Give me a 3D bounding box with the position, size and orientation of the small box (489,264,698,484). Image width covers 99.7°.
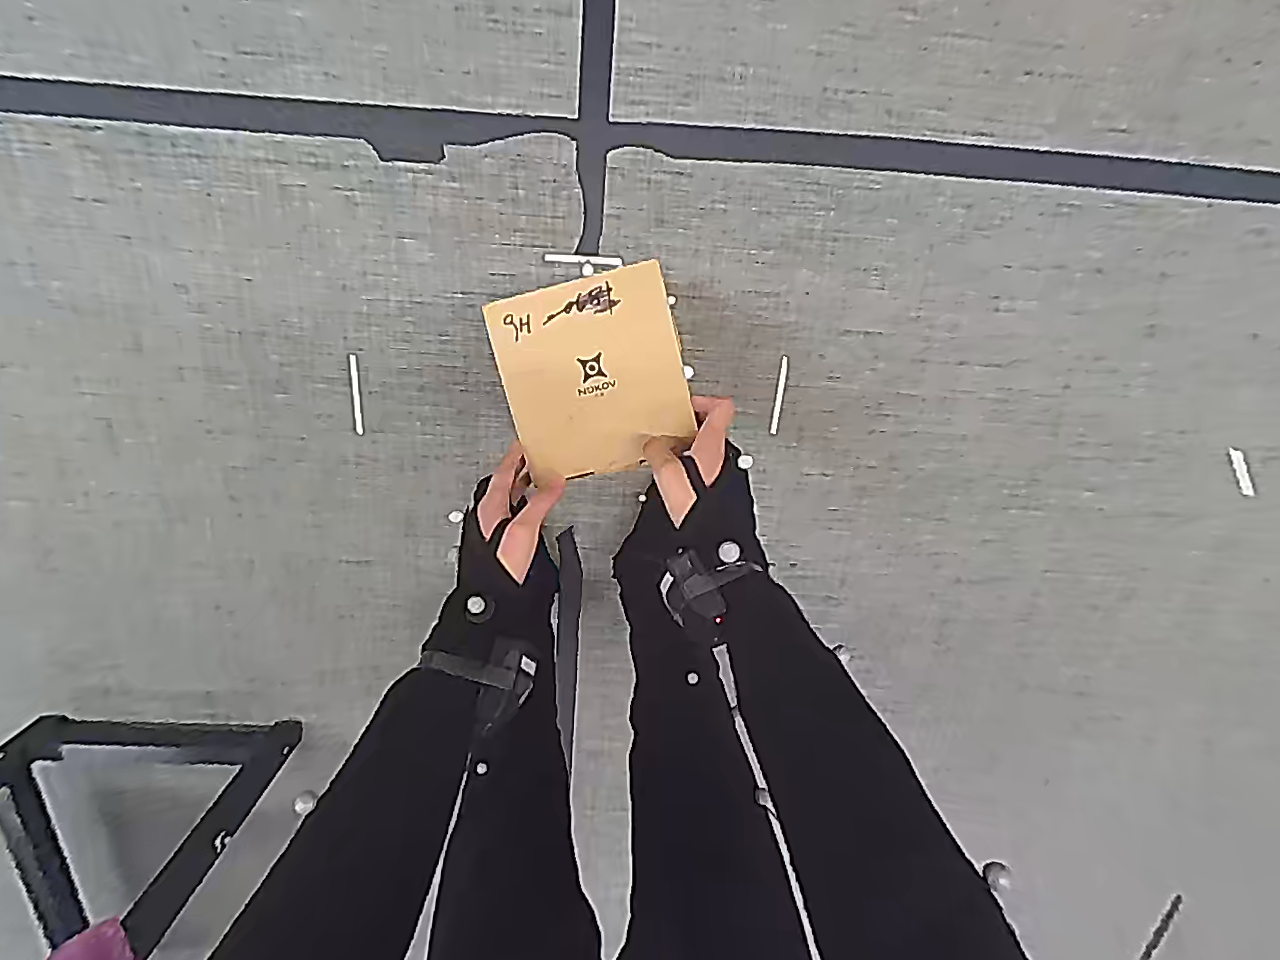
[{"bbox_3d":[-0.038,-0.111,0.580,0.168,0.176,0.179,-13,101,3],"label":"small box"}]
